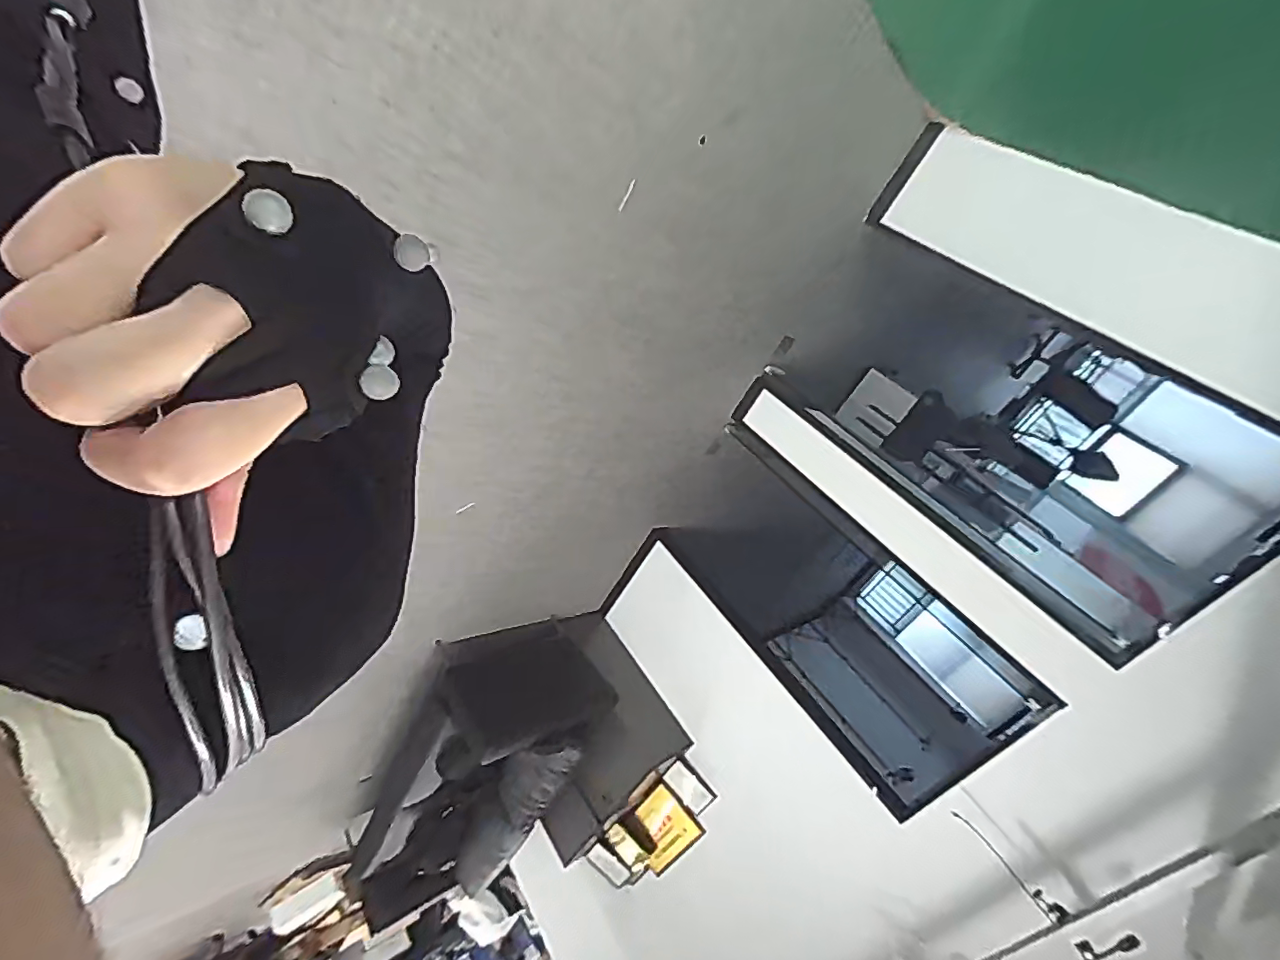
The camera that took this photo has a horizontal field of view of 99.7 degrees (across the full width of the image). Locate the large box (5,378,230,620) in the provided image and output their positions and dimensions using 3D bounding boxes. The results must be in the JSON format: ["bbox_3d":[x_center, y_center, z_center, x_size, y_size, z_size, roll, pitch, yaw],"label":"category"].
[{"bbox_3d":[-1.162,0.038,1.196,0.320,0.320,0.408,3,128,-50],"label":"large box"}]
